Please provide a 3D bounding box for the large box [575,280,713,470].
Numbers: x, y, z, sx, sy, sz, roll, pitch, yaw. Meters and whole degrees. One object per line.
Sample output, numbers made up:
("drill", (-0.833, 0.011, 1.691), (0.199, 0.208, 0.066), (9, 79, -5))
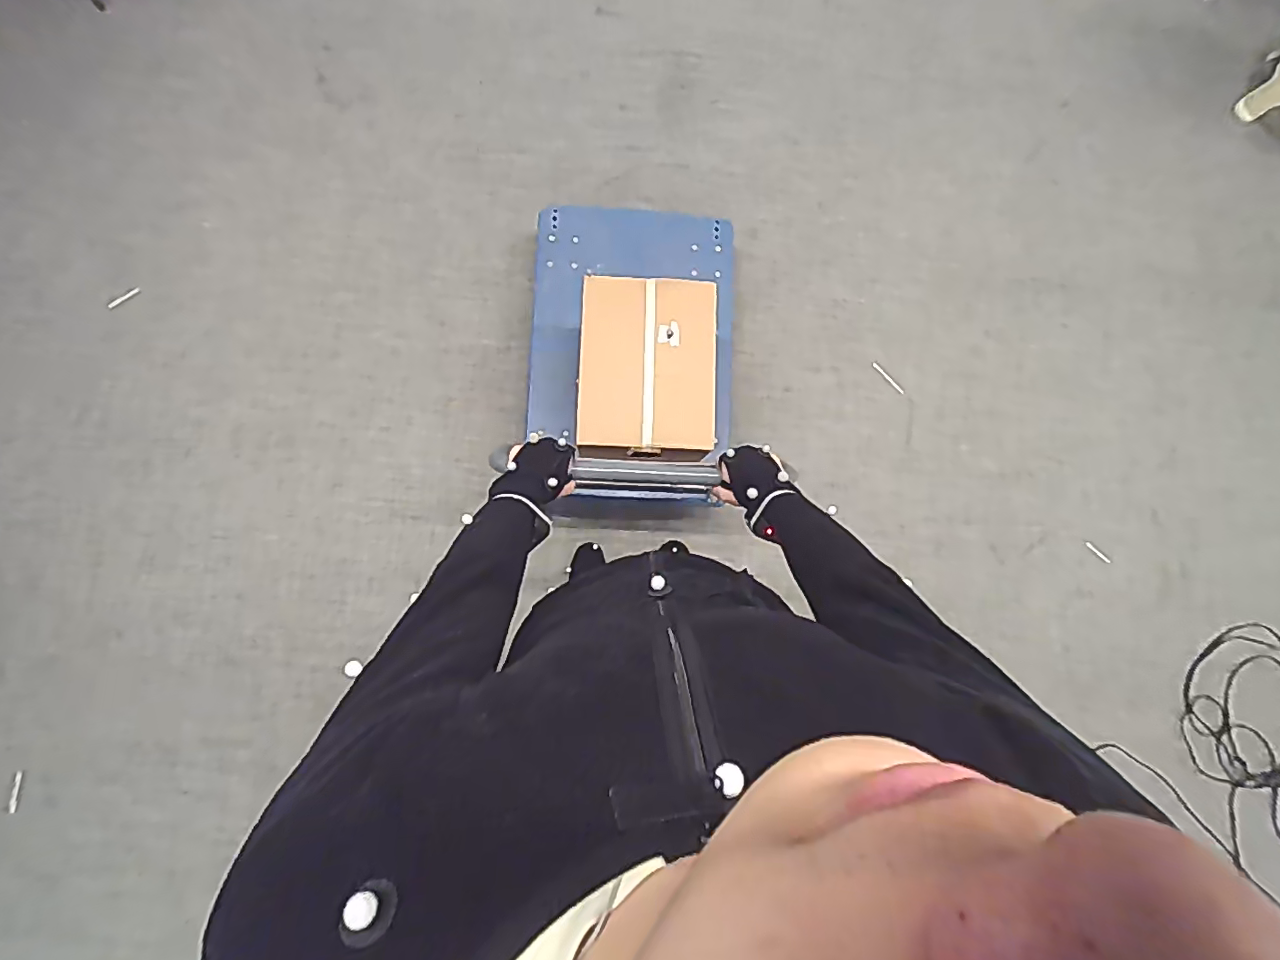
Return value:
("large box", (0.002, -0.244, 1.382), (0.320, 0.320, 0.408), (2, 81, -4))
